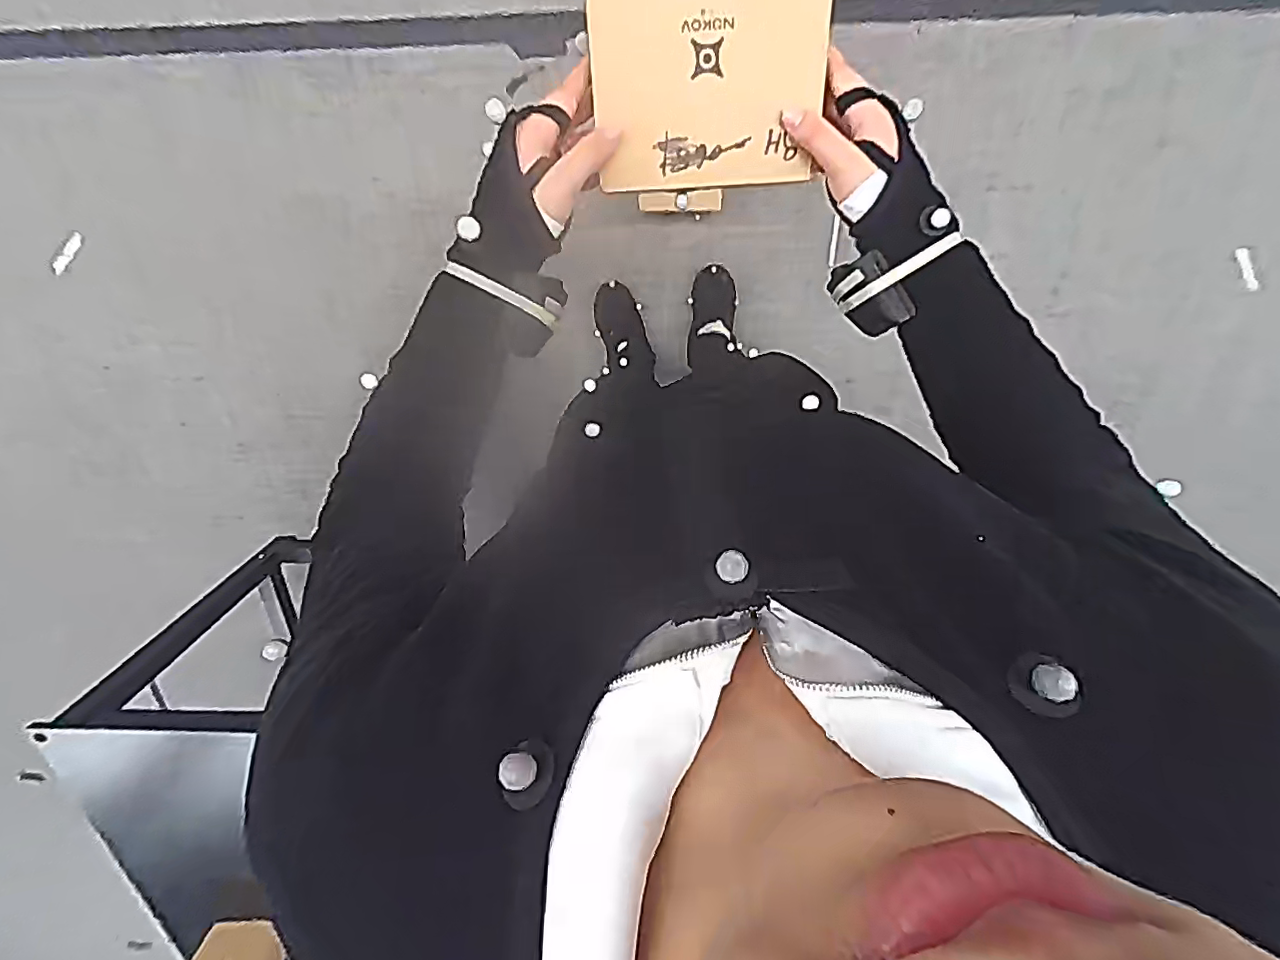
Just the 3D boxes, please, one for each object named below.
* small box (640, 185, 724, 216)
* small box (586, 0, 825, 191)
[{"bbox_3d":[0.087,-0.670,1.173,0.179,0.176,0.168,0,114,2],"label":"small box"},{"bbox_3d":[0.043,-0.343,0.441,0.168,0.176,0.179,-3,117,1],"label":"small box"}]
